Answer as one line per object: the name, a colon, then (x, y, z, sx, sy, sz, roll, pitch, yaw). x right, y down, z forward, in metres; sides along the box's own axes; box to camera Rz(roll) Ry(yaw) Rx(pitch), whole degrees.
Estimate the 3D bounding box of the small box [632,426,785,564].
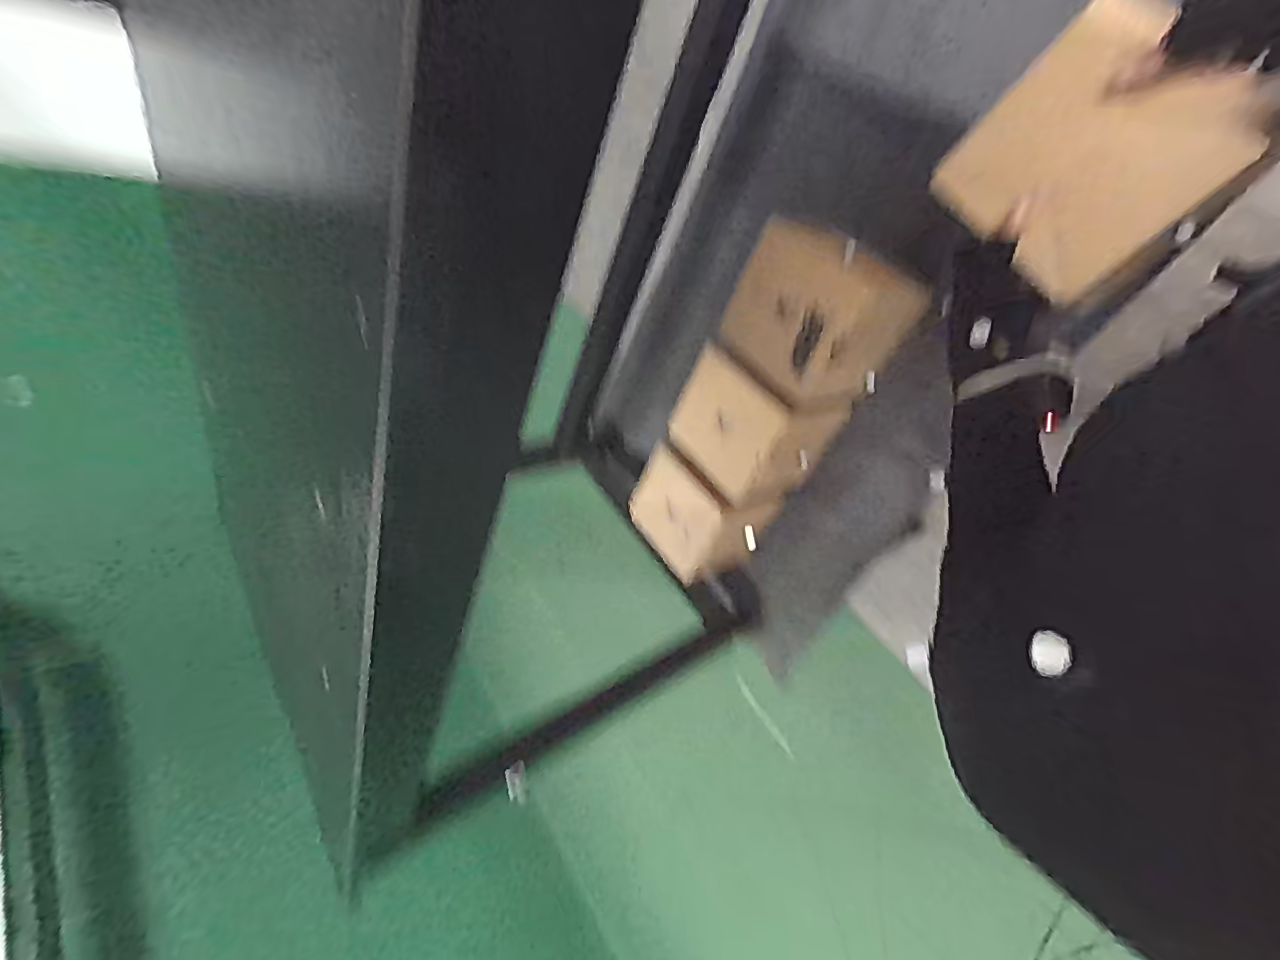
small box: (0.120, 0.017, 0.967, 0.179, 0.176, 0.168, 50, 135, 28)
